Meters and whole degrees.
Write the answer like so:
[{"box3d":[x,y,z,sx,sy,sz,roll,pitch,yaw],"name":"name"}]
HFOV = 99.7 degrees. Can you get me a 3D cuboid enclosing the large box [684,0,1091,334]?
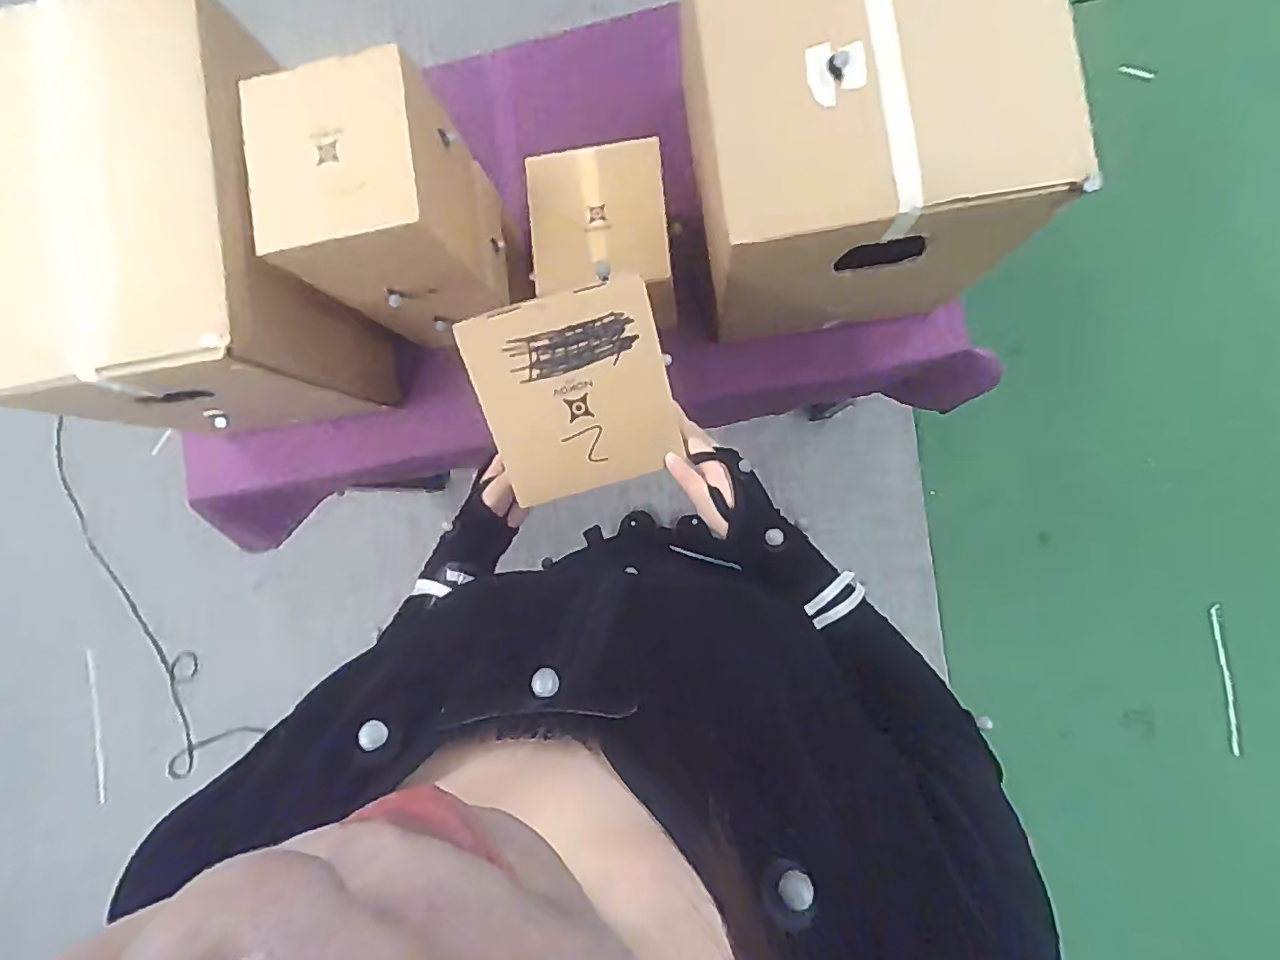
[{"box3d":[0.231,-0.429,0.639,0.320,0.320,0.408,-7,88,5],"name":"large box"}]
